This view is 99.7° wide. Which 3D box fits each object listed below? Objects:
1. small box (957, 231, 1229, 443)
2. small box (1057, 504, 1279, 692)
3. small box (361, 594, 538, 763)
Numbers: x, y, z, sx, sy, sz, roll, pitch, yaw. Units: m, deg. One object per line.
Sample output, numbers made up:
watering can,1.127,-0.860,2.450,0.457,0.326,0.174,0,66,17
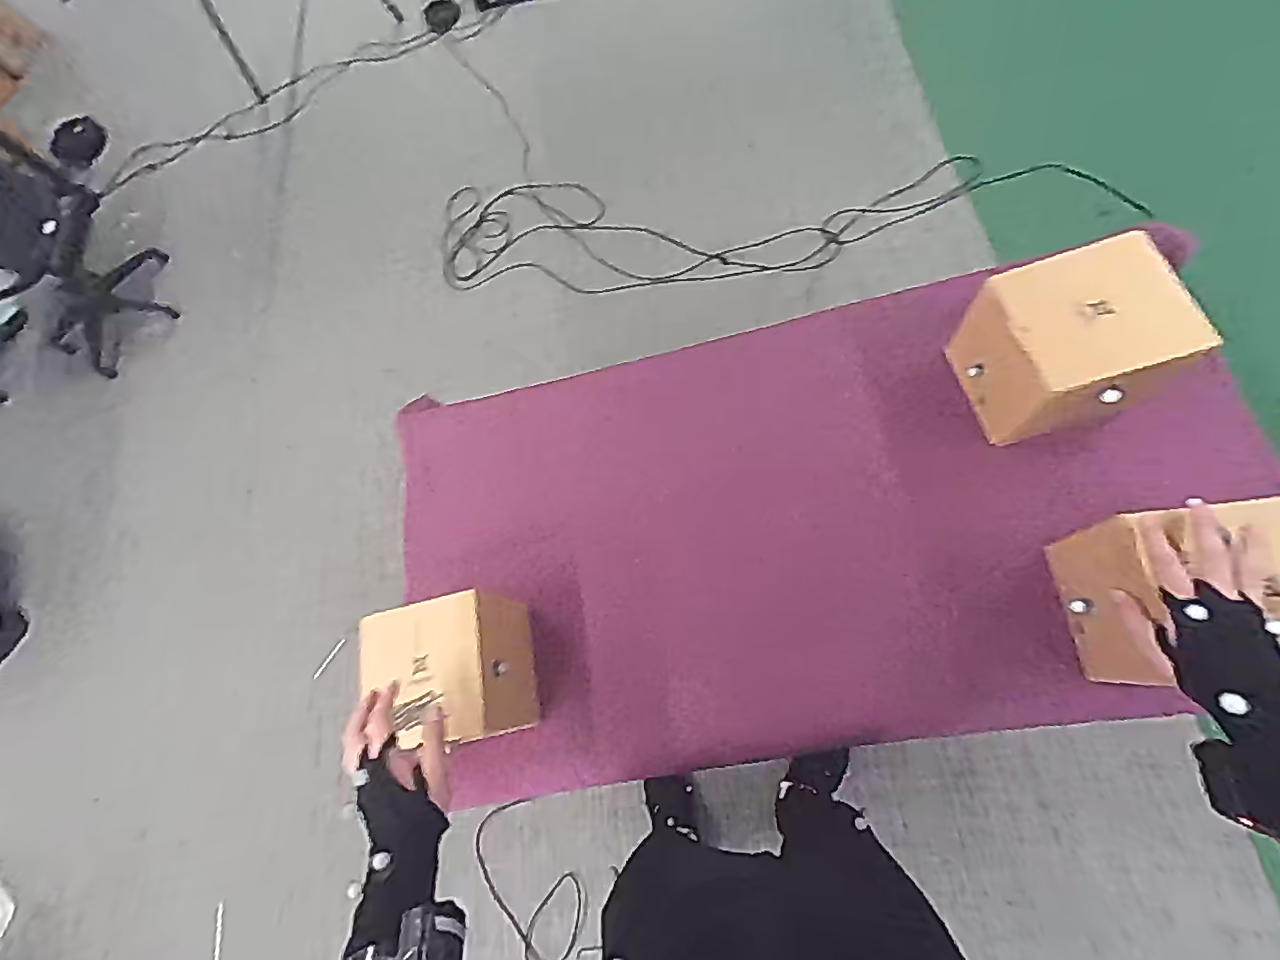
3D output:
small box,0.540,-0.166,0.680,0.179,0.176,0.168,-17,70,10
small box,0.593,0.128,0.568,0.179,0.176,0.168,-8,70,12
small box,-0.251,0.267,0.739,0.168,0.176,0.179,-15,67,9
